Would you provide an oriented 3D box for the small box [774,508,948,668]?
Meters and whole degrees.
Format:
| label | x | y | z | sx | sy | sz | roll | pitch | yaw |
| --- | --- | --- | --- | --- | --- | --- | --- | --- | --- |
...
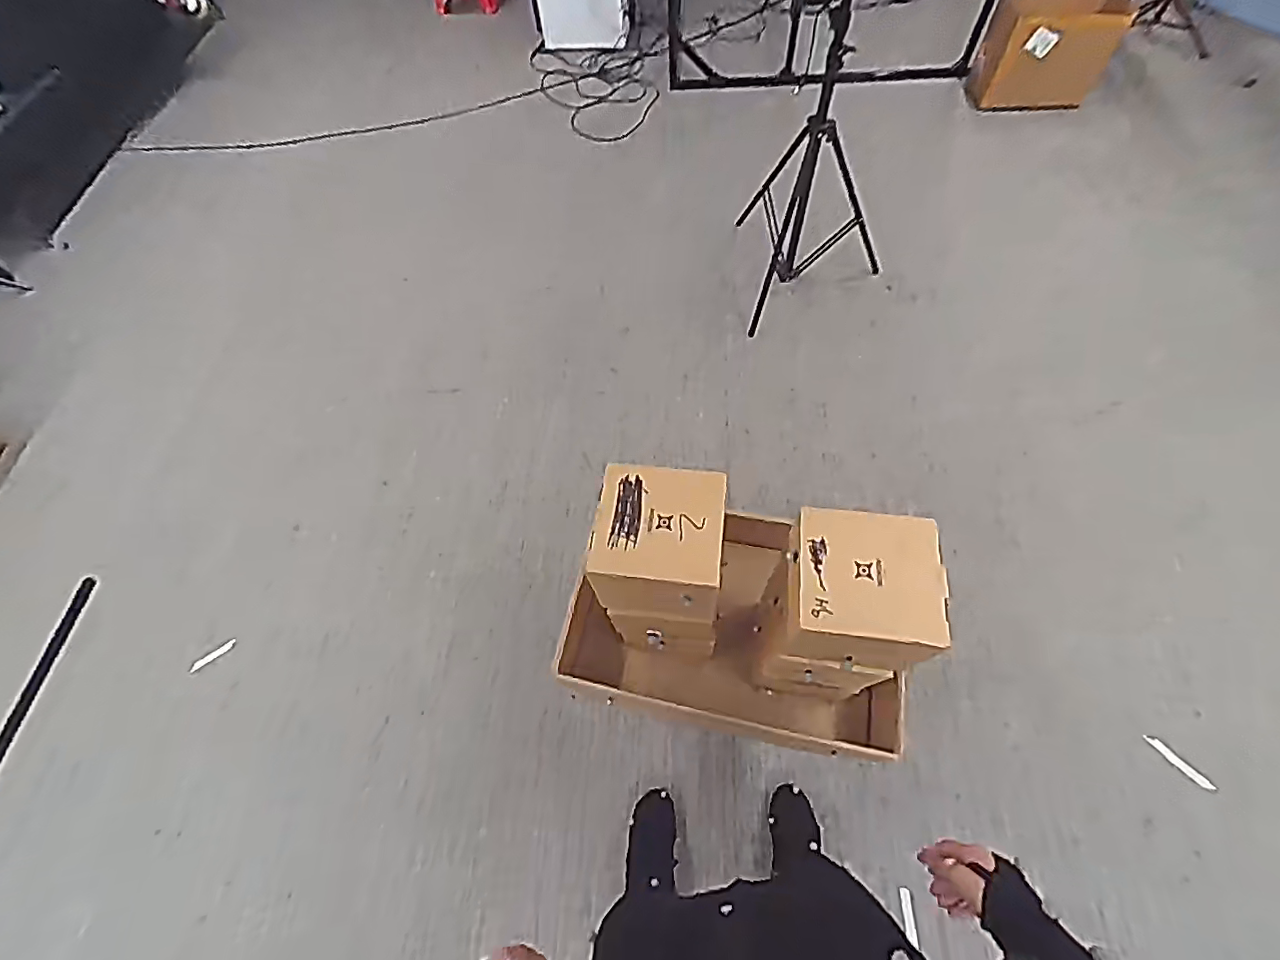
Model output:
| label | x | y | z | sx | sy | sz | roll | pitch | yaw |
| --- | --- | --- | --- | --- | --- | --- | --- | --- | --- |
| small box | 0.290 | 0.155 | 0.744 | 0.179 | 0.176 | 0.168 | 6 | 62 | 7 |

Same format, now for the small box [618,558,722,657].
| label | x | y | z | sx | sy | sz | roll | pitch | yaw |
| --- | --- | --- | --- | --- | --- | --- | --- | --- | --- |
| small box | 0.064 | 0.249 | 1.081 | 0.179 | 0.176 | 0.168 | 7 | 64 | 7 |

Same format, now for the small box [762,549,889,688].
| label | x | y | z | sx | sy | sz | roll | pitch | yaw |
| --- | --- | --- | --- | --- | --- | --- | --- | --- | --- |
| small box | 0.298 | 0.233 | 0.889 | 0.168 | 0.176 | 0.179 | 8 | 63 | 8 |

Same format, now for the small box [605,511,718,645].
| label | x | y | z | sx | sy | sz | roll | pitch | yaw |
| --- | --- | --- | --- | --- | --- | --- | --- | --- | --- |
| small box | 0.043 | 0.172 | 0.937 | 0.168 | 0.176 | 0.179 | 5 | 63 | 8 |
